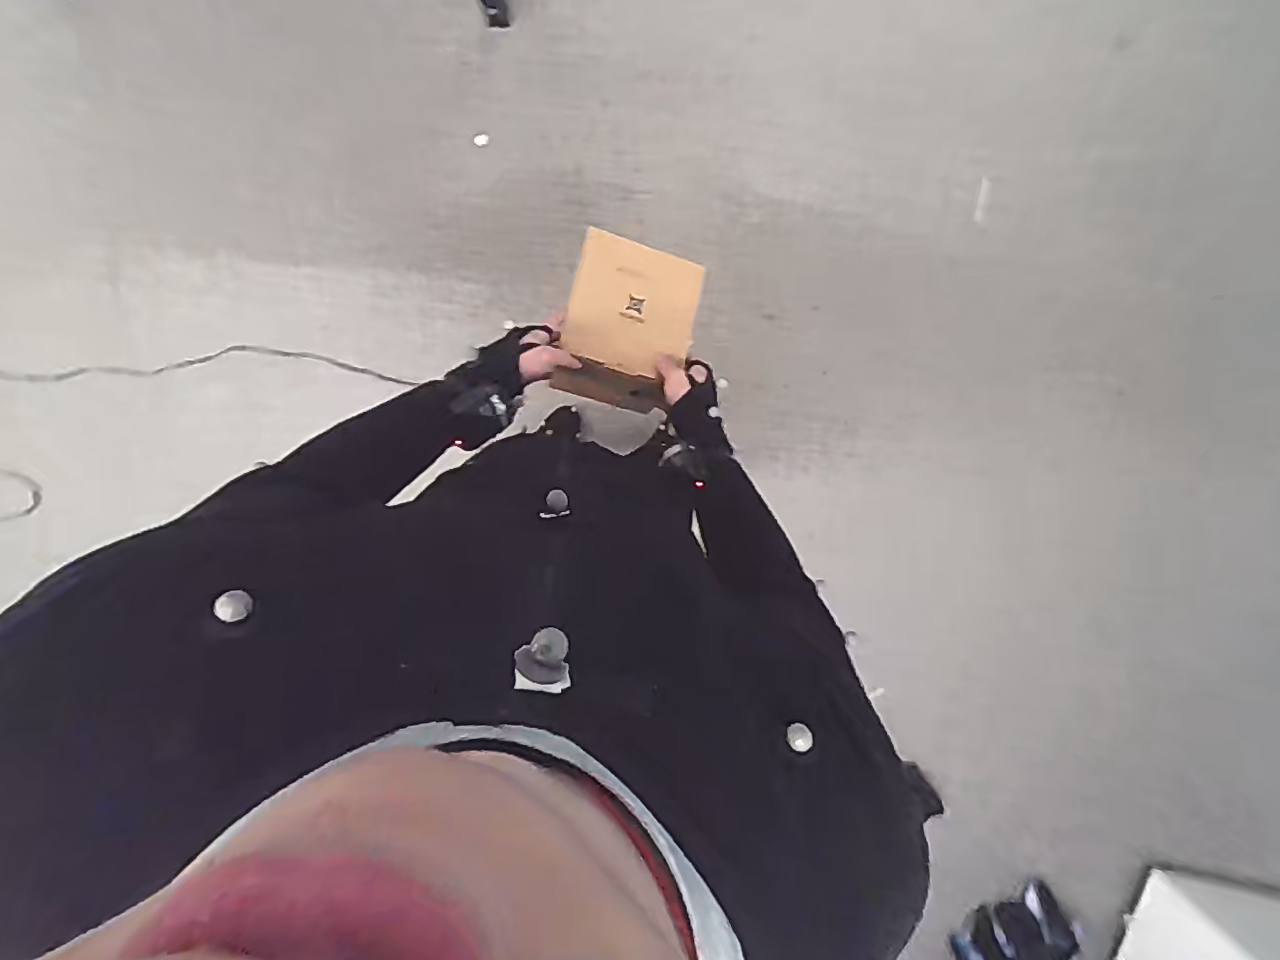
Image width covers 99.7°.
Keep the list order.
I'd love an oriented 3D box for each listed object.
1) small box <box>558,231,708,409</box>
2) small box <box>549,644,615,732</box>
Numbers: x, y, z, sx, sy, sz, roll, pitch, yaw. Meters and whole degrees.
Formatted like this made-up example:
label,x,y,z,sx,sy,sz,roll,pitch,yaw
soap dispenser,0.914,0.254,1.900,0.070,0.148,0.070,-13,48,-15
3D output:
label,x,y,z,sx,sy,sz,roll,pitch,yaw
small box,-0.020,-0.216,0.785,0.168,0.176,0.179,13,80,-13
small box,-0.163,0.595,1.568,0.168,0.176,0.179,7,98,-1
